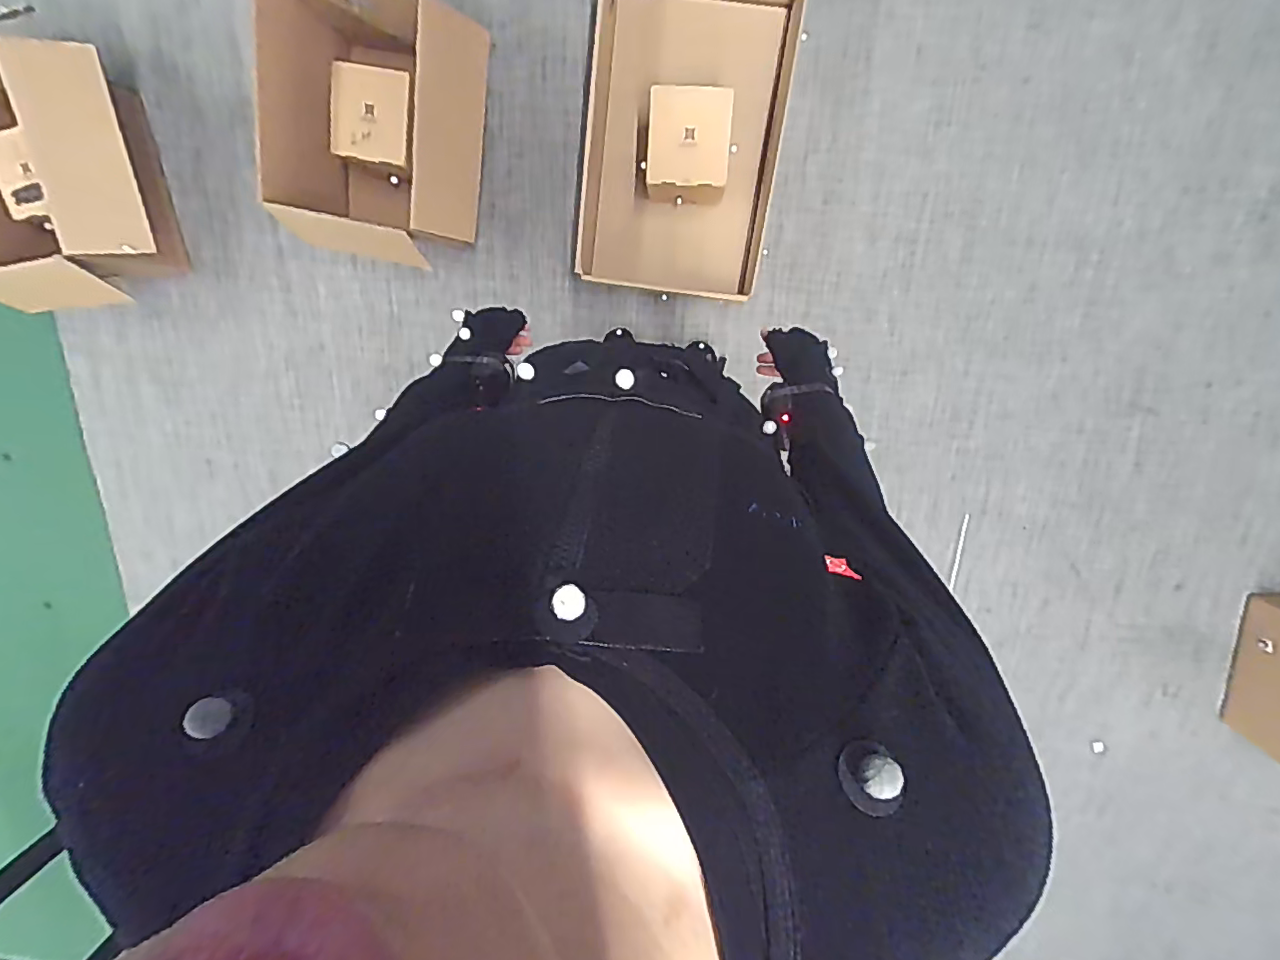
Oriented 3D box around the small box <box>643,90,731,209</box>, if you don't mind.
[{"bbox_3d":[0.095,-0.696,1.155,0.168,0.176,0.179,3,106,2],"label":"small box"}]
